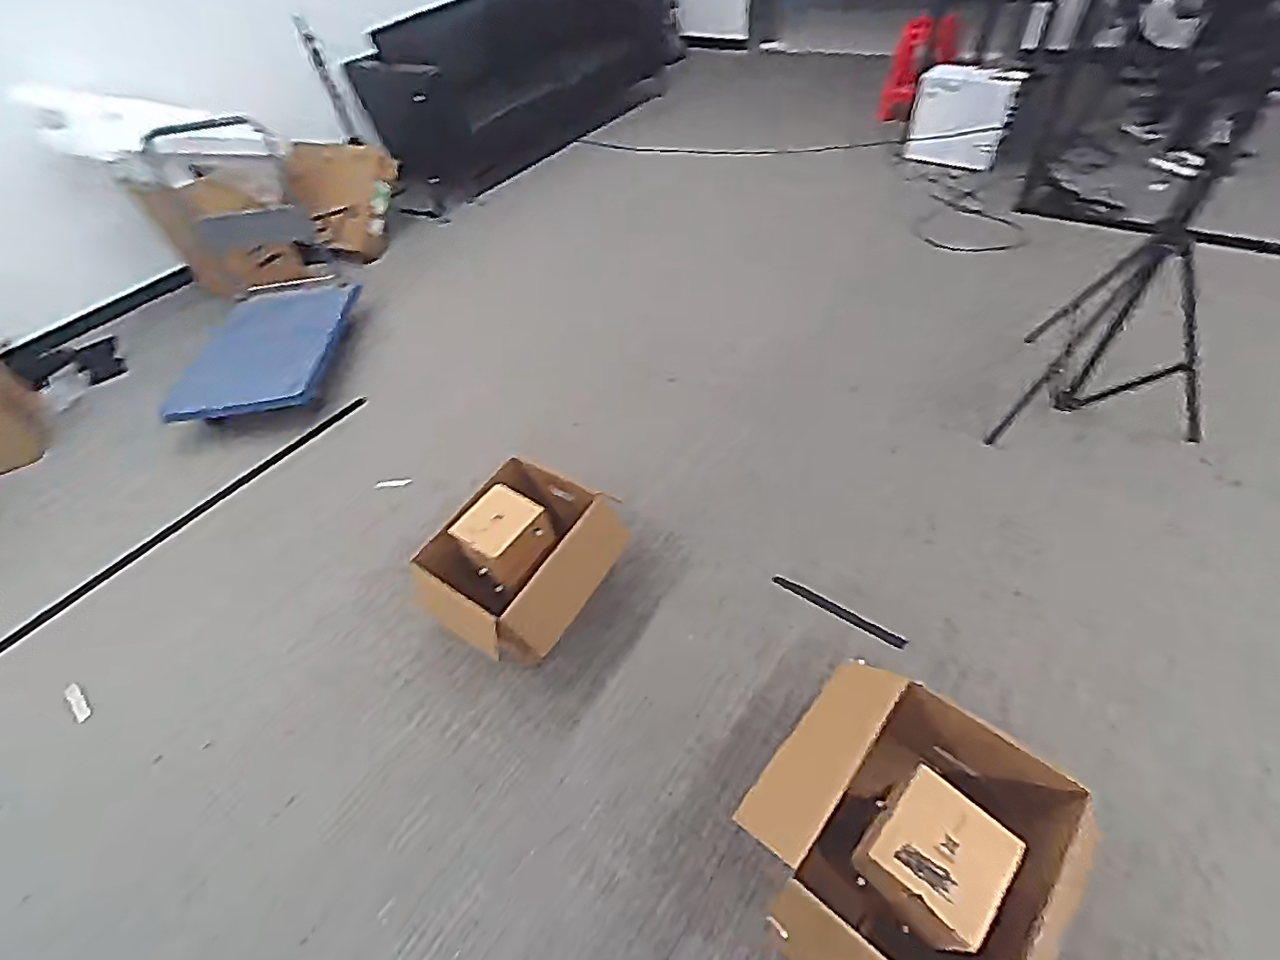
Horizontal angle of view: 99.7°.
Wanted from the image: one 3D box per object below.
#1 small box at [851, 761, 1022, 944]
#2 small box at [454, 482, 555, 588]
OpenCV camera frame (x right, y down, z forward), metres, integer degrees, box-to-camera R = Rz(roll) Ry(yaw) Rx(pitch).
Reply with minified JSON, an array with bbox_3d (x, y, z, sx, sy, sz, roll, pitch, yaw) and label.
[{"bbox_3d":[0.470,0.609,0.886,0.179,0.176,0.168,-39,58,-25],"label":"small box"},{"bbox_3d":[-0.339,0.144,1.401,0.168,0.176,0.179,26,59,27],"label":"small box"}]
